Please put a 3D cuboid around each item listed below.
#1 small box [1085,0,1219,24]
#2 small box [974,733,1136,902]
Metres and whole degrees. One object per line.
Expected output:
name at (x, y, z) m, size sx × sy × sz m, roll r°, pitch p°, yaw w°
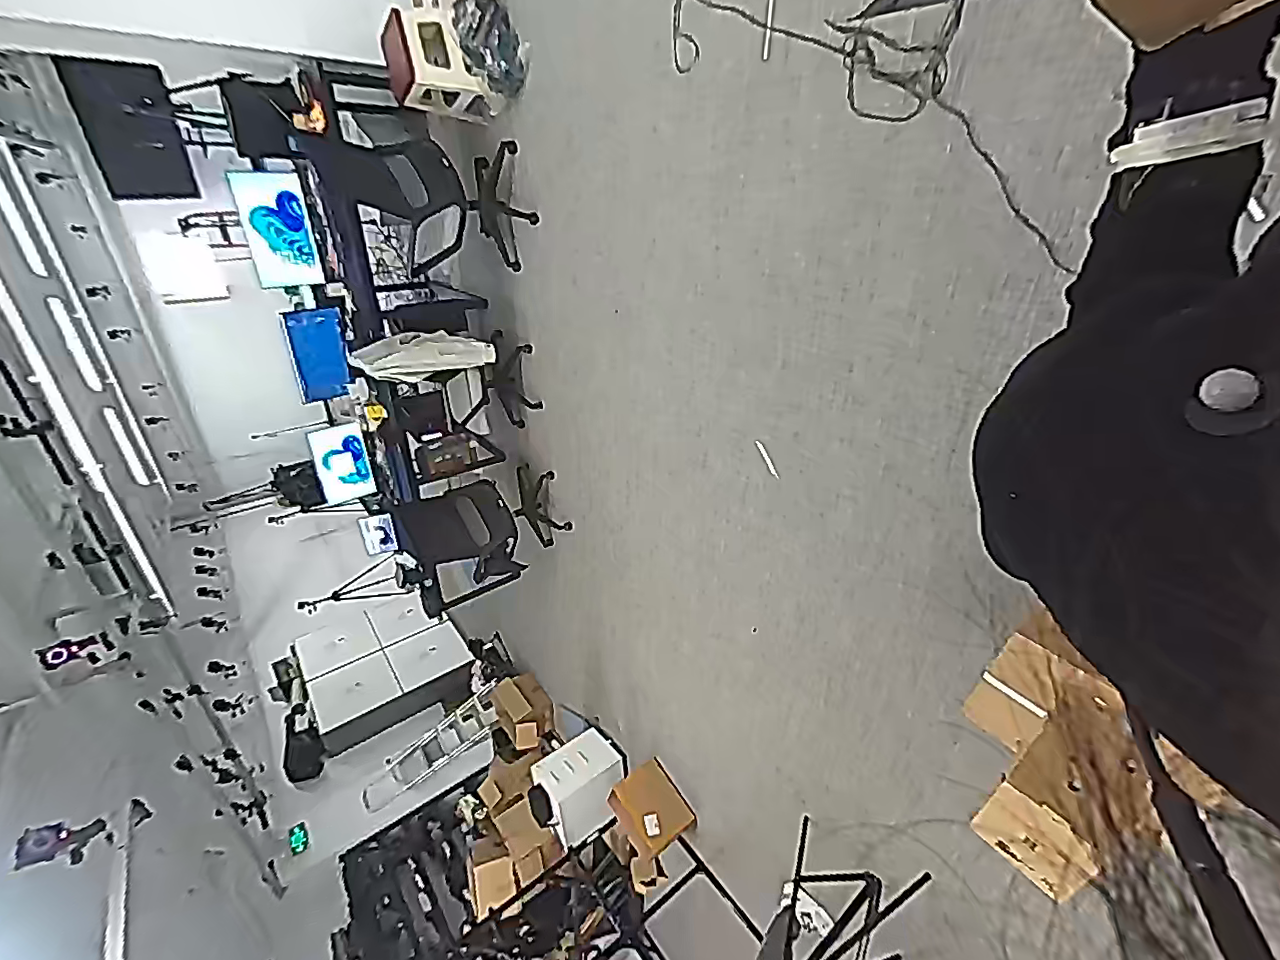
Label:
small box at (0.263, -0.318, 0.200) m, size 0.168 × 0.176 × 0.179 m, roll -11°, pitch 101°, yaw 51°
small box at (0.770, 0.614, 1.003) m, size 0.168 × 0.176 × 0.179 m, roll 37°, pitch 134°, yaw 40°
